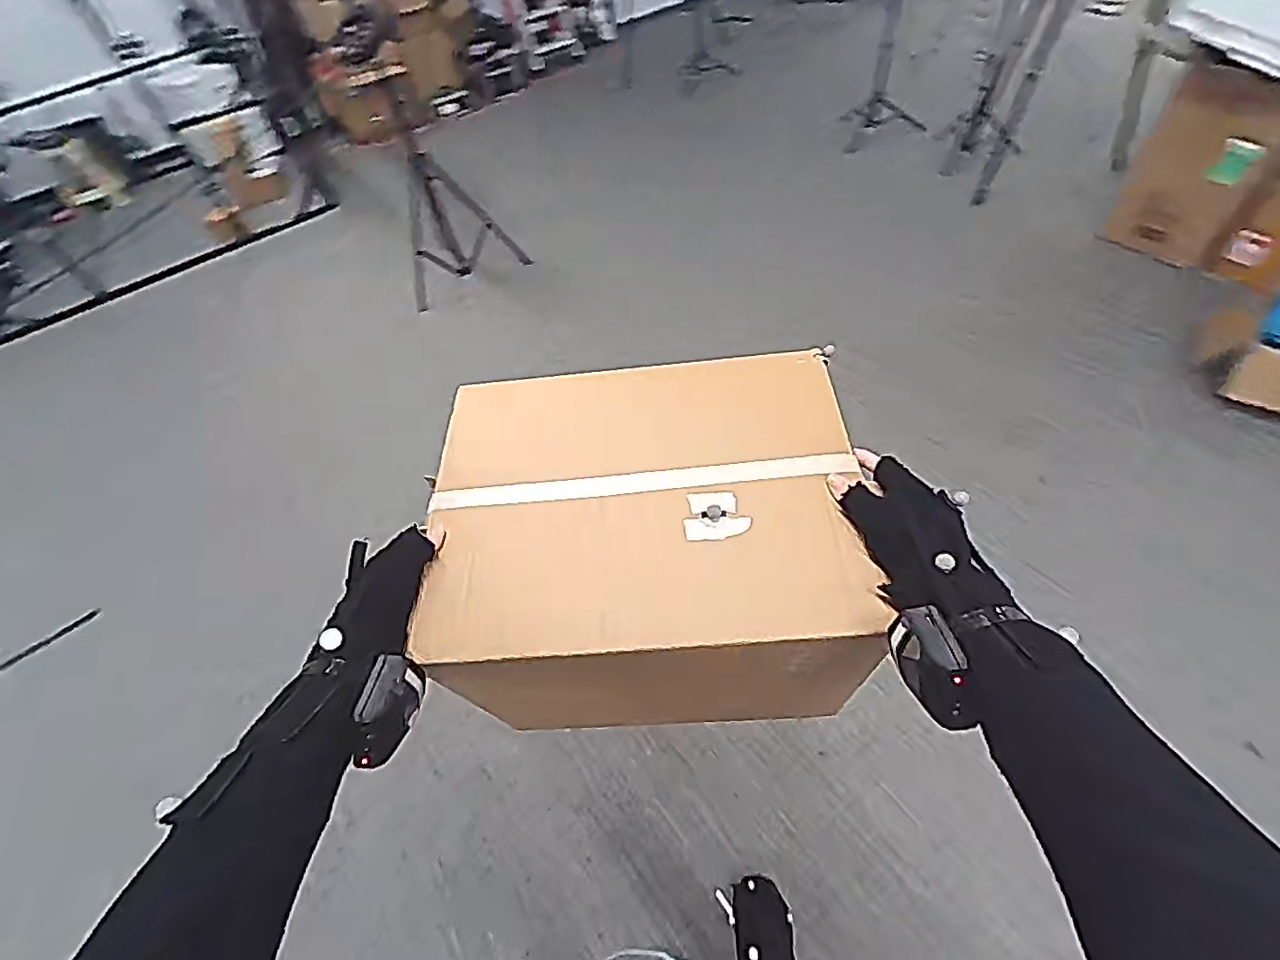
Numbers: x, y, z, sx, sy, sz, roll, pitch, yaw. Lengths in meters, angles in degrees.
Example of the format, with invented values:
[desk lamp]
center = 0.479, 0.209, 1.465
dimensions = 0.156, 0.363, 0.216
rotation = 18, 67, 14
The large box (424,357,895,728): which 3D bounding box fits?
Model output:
[large box]
center = 0.017, 0.091, 0.652
dimensions = 0.408, 0.320, 0.320
rotation = -6, 56, 3
